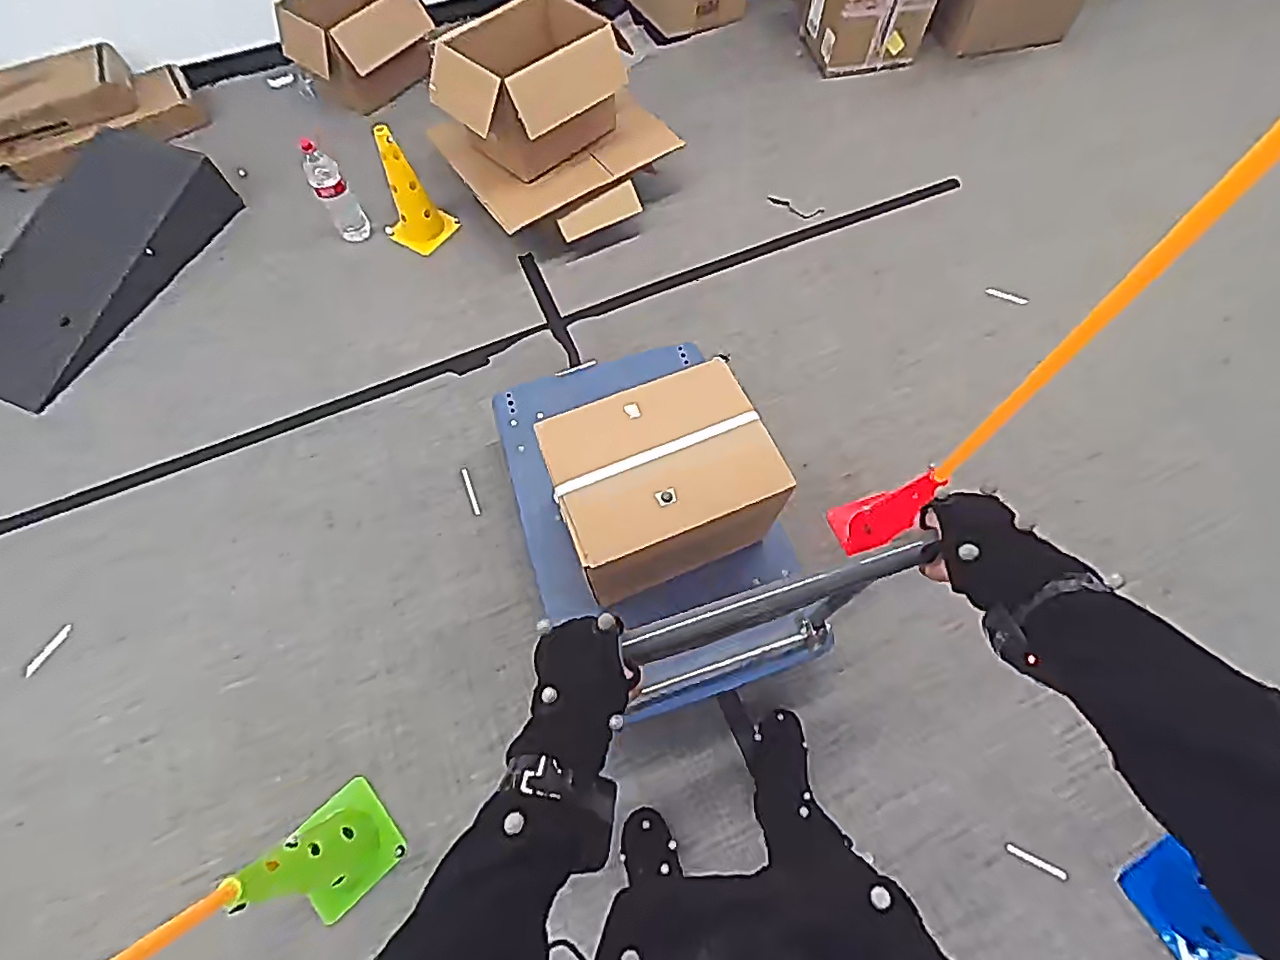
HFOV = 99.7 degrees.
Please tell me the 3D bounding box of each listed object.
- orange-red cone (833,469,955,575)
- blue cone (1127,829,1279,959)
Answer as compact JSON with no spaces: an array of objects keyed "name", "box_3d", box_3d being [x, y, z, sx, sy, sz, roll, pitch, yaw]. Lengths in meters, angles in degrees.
[{"name":"orange-red cone","box_3d":[0.627,0.066,1.260,0.199,0.360,0.198,-16,66,-7]},{"name":"blue cone","box_3d":[1.105,0.771,0.938,0.193,0.380,0.192,-26,66,-11]}]
